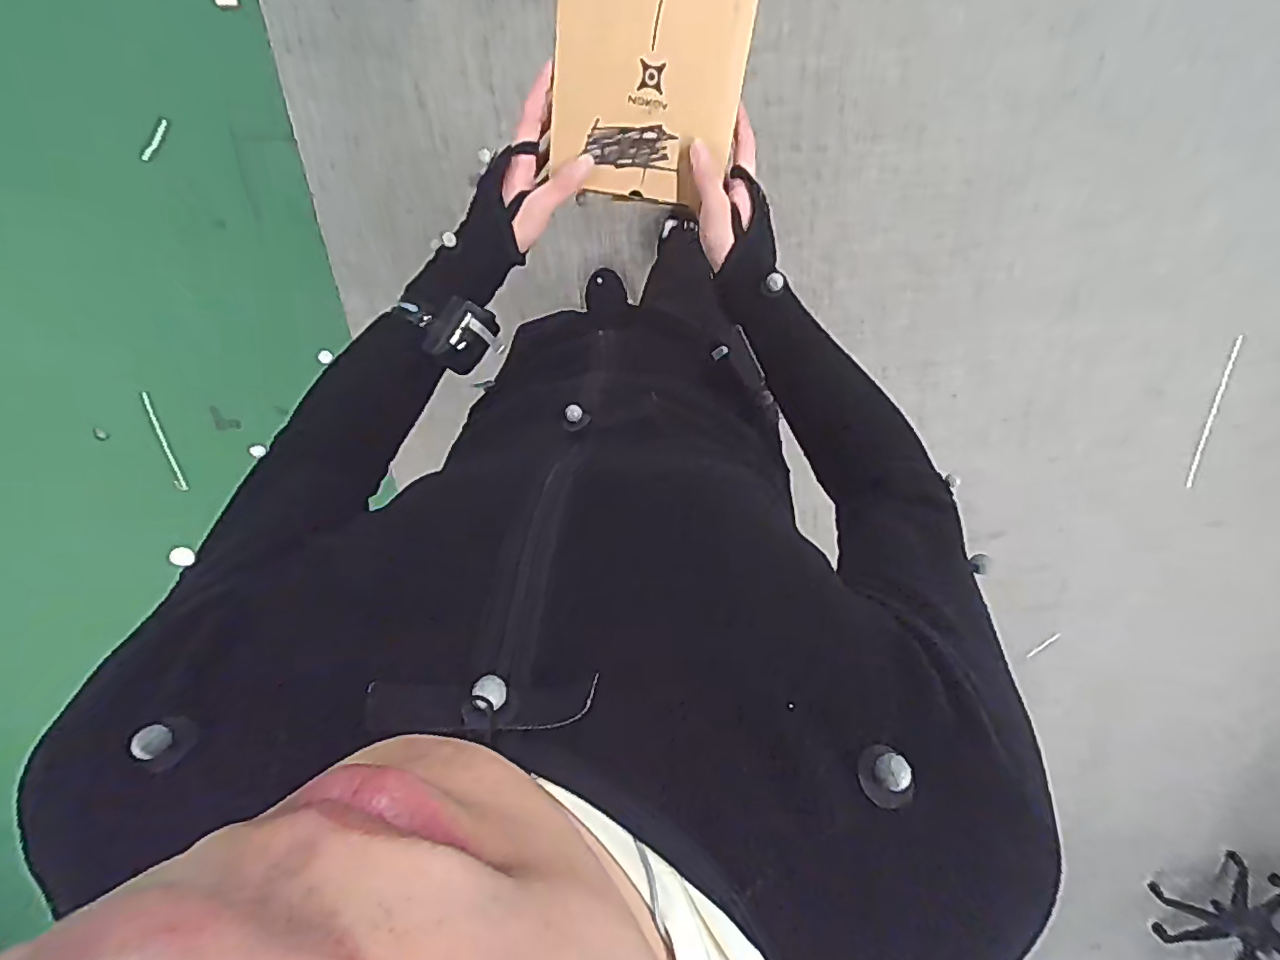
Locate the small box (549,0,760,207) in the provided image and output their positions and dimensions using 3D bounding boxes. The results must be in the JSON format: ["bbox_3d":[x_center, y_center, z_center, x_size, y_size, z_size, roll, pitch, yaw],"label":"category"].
[{"bbox_3d":[0.001,-0.382,0.535,0.168,0.176,0.179,4,118,-10],"label":"small box"}]
